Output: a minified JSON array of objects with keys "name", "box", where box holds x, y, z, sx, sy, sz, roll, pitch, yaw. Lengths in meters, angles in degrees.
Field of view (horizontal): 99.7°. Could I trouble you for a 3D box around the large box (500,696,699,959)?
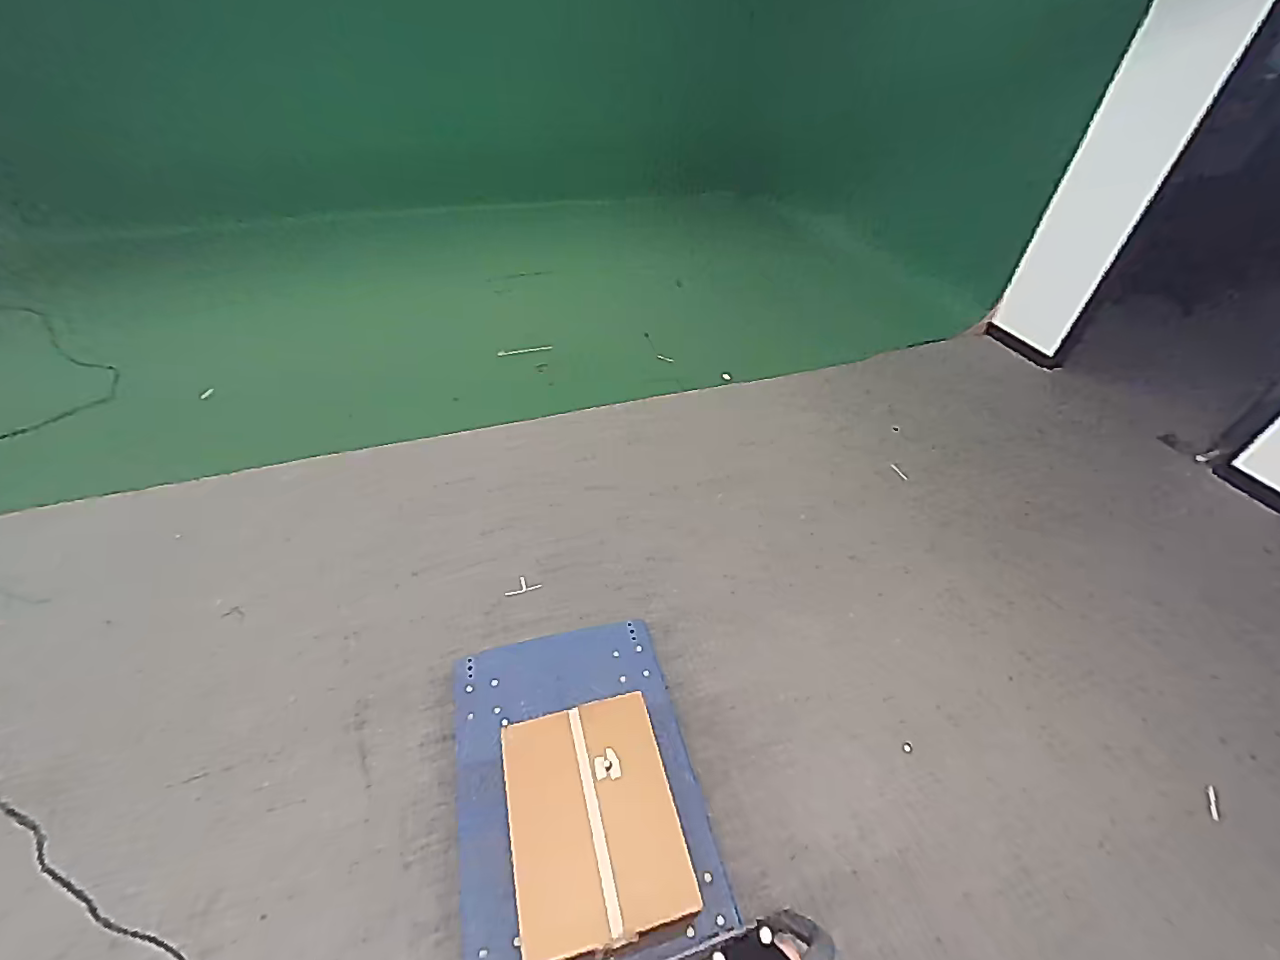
[{"name":"large box","box":[-0.098,0.752,1.149,0.320,0.320,0.408,-10,44,-13]}]
